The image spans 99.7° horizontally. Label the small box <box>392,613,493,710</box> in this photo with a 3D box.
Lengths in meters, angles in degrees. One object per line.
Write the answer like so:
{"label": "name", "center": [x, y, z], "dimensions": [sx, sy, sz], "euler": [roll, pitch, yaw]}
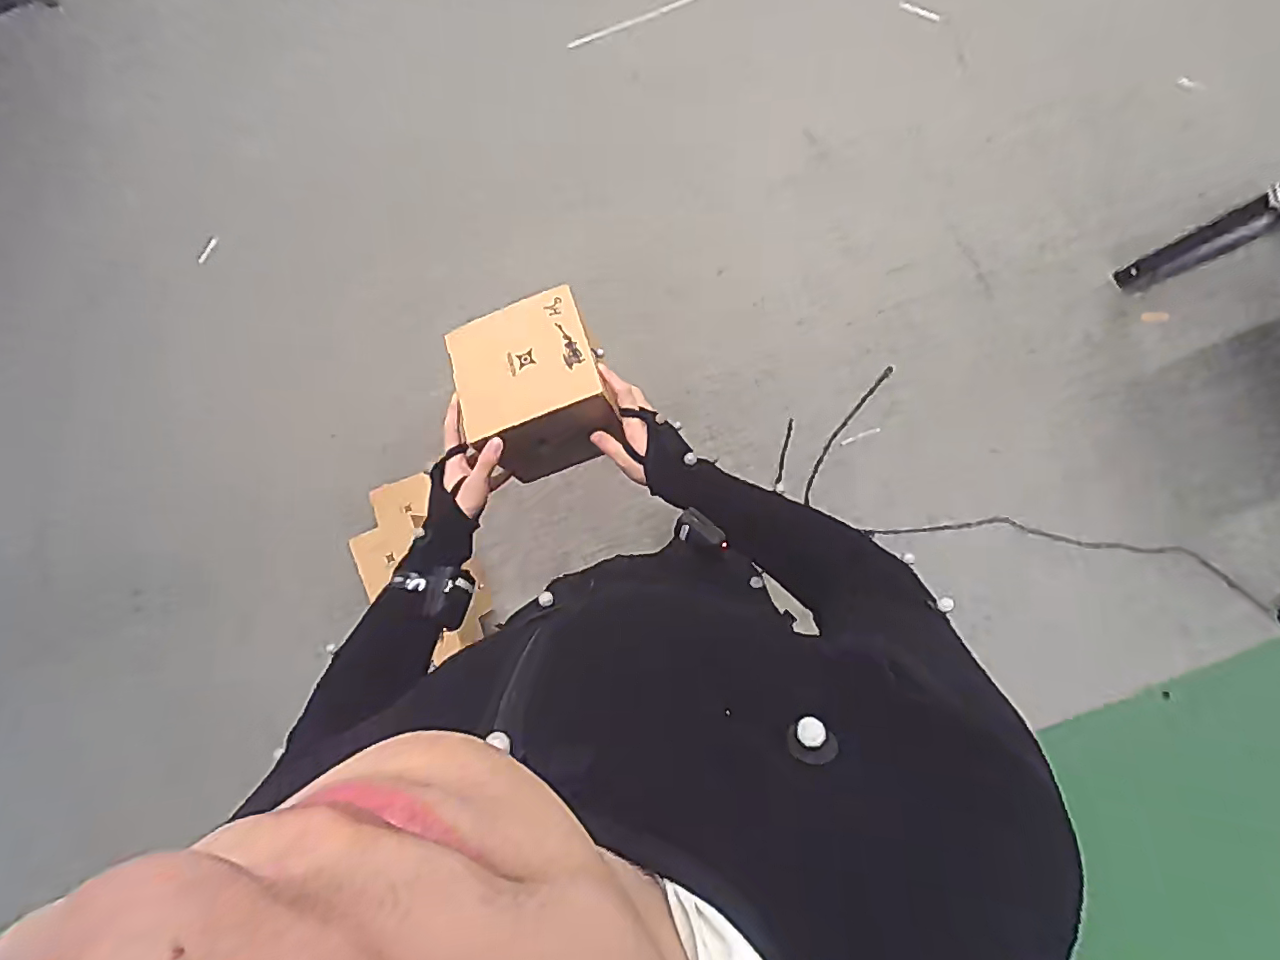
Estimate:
{"label": "small box", "center": [-0.494, 0.449, 1.376], "dimensions": [0.168, 0.176, 0.179], "euler": [-20, 87, 0]}

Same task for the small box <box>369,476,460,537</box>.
{"label": "small box", "center": [-0.642, 0.097, 1.570], "dimensions": [0.179, 0.176, 0.168], "euler": [-22, 86, 0]}

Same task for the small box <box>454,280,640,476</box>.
{"label": "small box", "center": [-0.117, -0.123, 0.722], "dimensions": [0.179, 0.176, 0.168], "euler": [-20, 70, 6]}

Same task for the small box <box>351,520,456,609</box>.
{"label": "small box", "center": [-0.601, 0.212, 1.396], "dimensions": [0.168, 0.176, 0.179], "euler": [-23, 84, -1]}
